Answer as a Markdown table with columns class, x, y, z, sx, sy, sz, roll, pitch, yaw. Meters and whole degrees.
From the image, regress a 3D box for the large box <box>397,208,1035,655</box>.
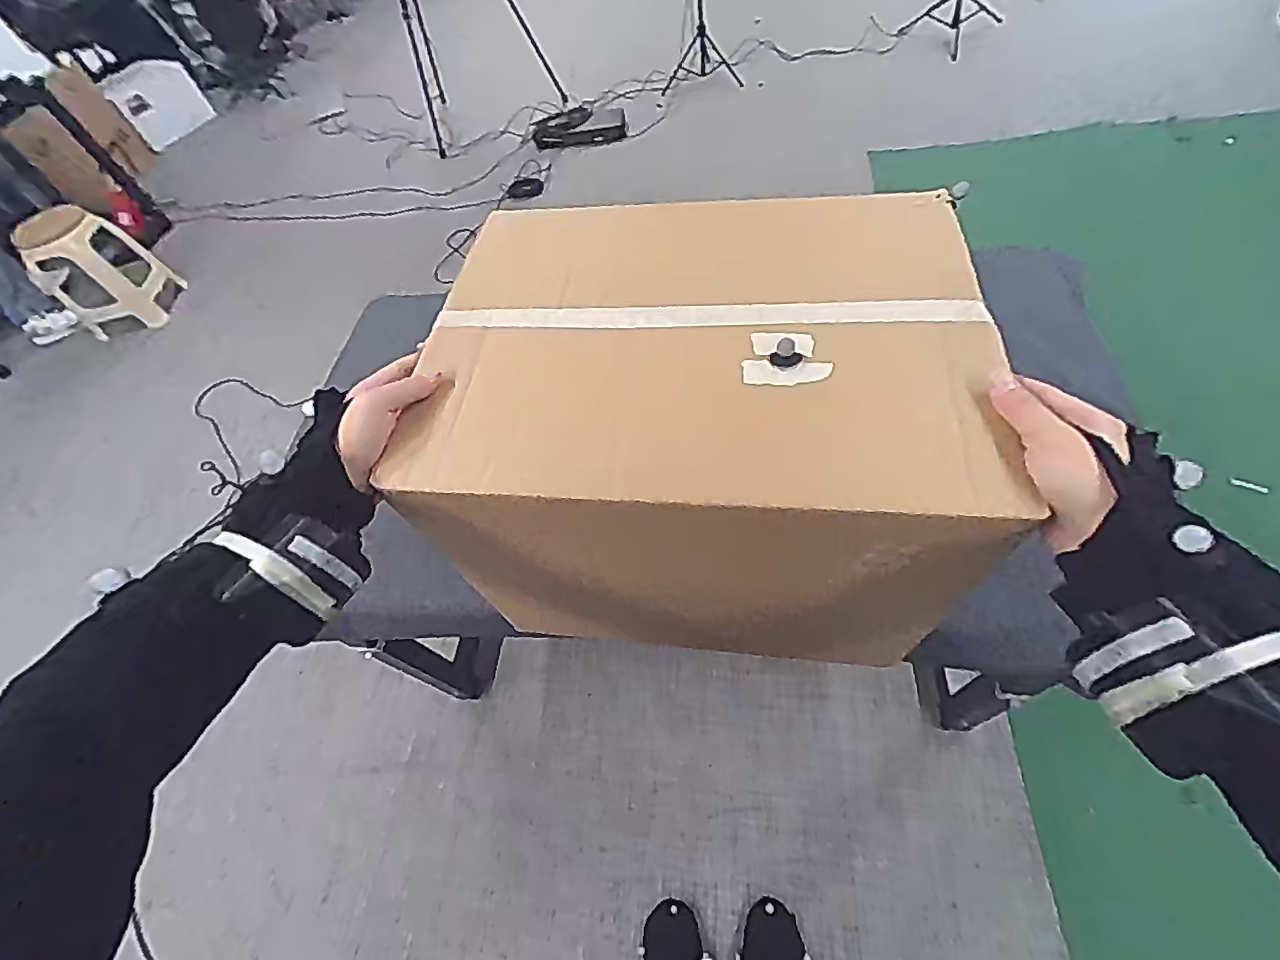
| class | x | y | z | sx | sy | sz | roll | pitch | yaw |
| --- | --- | --- | --- | --- | --- | --- | --- | --- | --- |
| large box | 0.061 | -0.033 | 0.537 | 0.408 | 0.320 | 0.320 | 2 | 57 | 9 |
